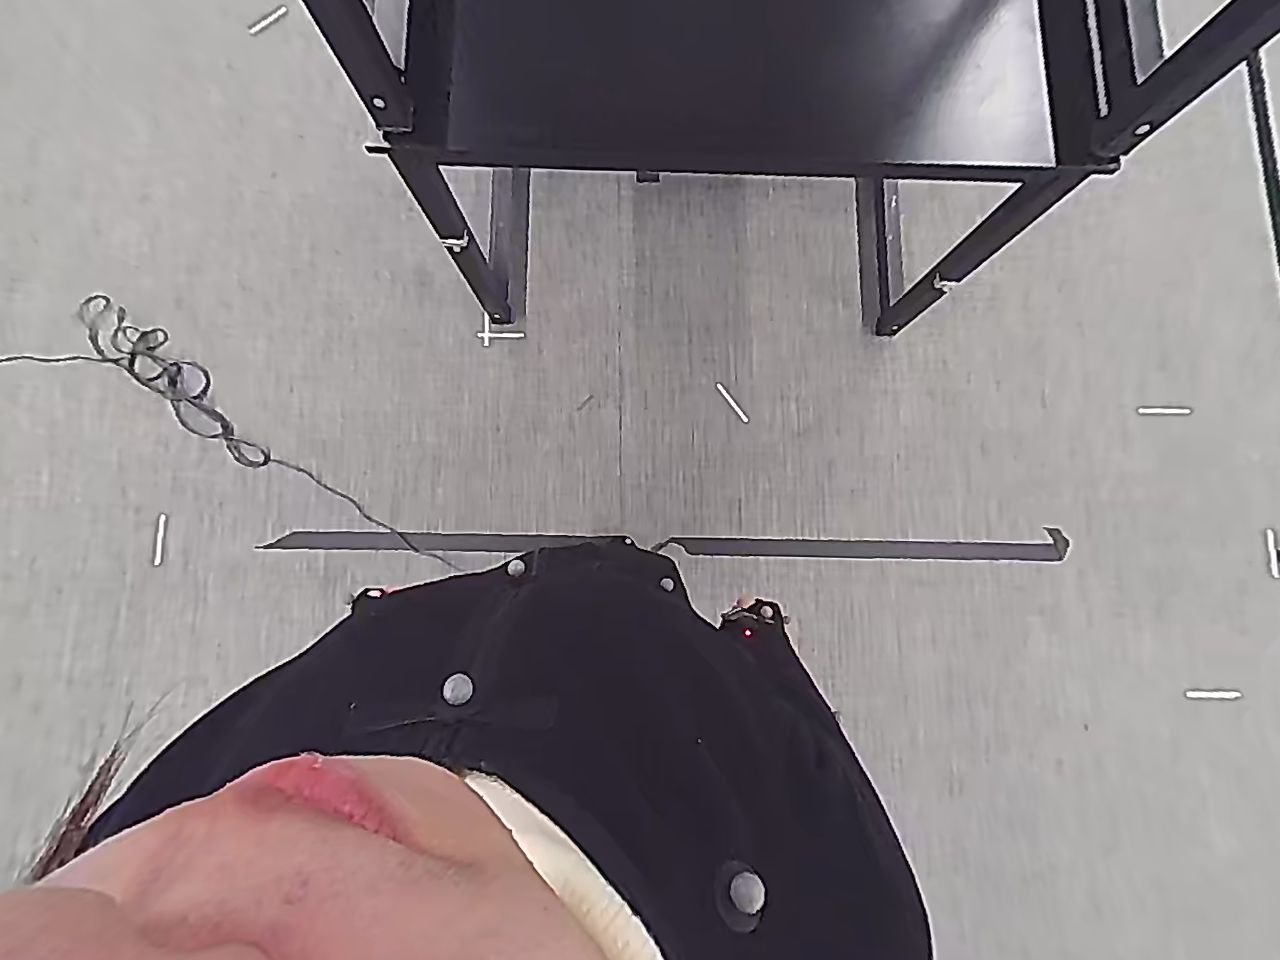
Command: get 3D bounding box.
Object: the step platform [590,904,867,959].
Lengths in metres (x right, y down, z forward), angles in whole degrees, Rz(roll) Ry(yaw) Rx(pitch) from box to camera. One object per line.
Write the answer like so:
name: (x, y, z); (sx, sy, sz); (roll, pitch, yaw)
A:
step platform: (0.213, 1.247, 1.280); (0.684, 0.204, 0.286); (6, 83, -1)
